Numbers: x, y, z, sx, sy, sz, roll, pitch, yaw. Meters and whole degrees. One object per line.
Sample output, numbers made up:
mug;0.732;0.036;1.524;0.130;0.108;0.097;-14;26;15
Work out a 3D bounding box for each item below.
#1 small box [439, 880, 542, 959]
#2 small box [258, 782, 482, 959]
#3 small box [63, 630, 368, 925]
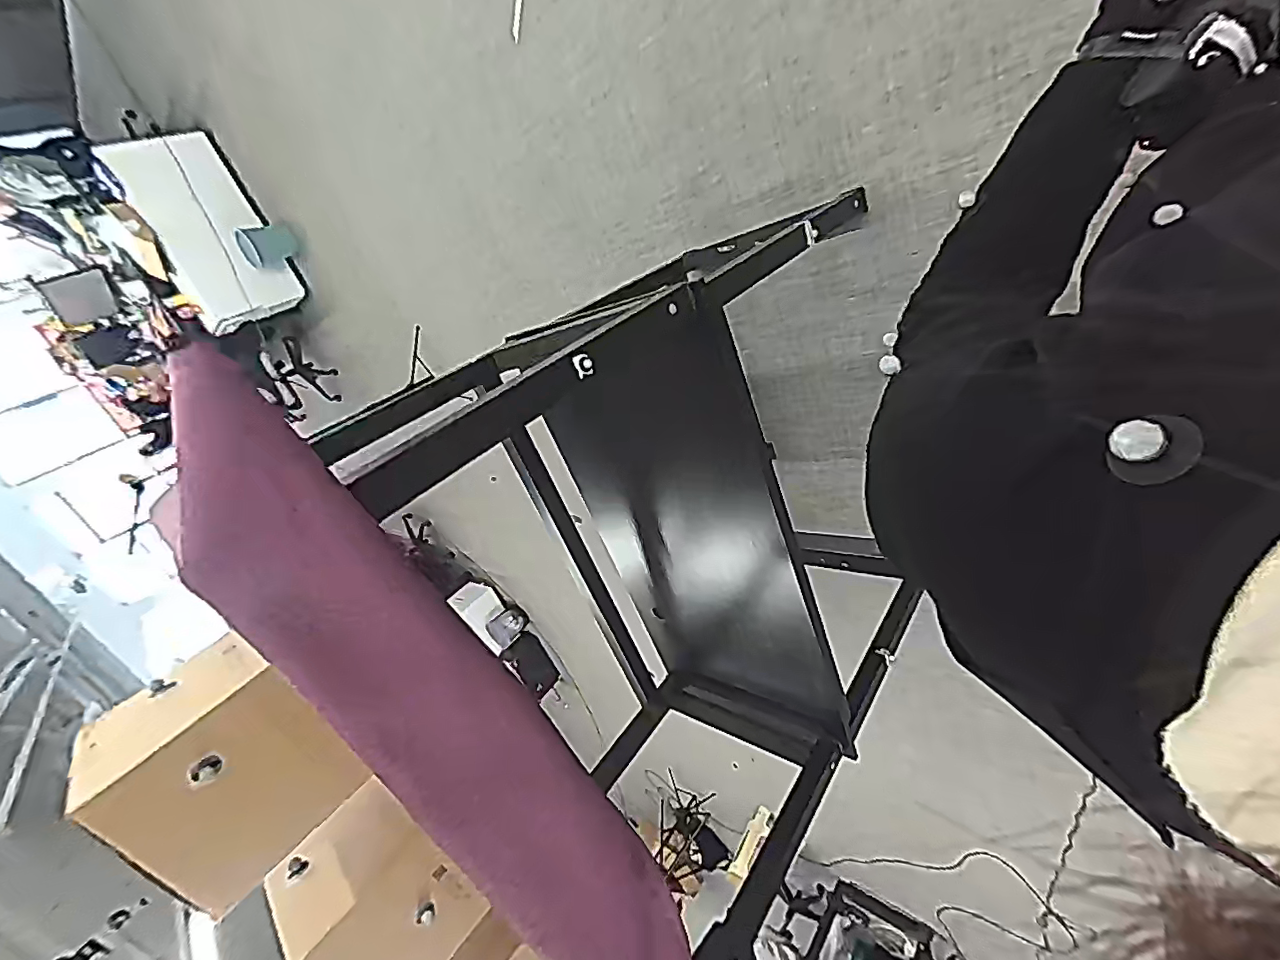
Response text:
small box;-0.239;0.742;0.786;0.179;0.176;0.168;1;123;48
small box;-0.333;0.523;0.681;0.179;0.176;0.168;1;124;47
small box;-0.426;0.287;0.559;0.168;0.176;0.179;6;128;45
